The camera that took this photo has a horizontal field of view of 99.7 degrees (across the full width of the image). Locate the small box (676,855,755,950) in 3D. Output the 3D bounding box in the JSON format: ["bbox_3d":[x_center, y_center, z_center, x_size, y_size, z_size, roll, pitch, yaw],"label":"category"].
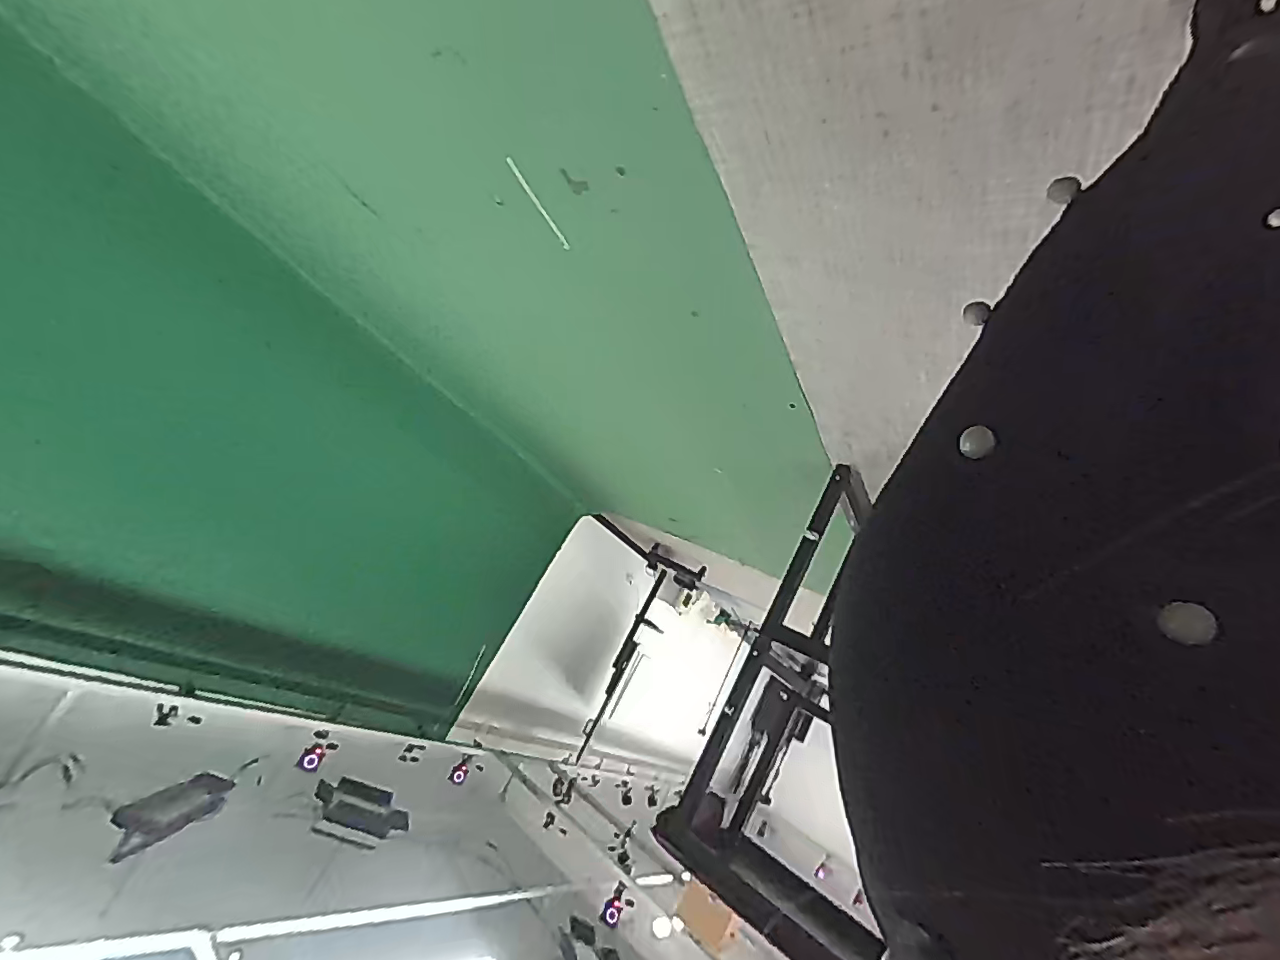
[{"bbox_3d":[0.249,1.341,1.732,0.168,0.176,0.179,19,161,35],"label":"small box"}]
